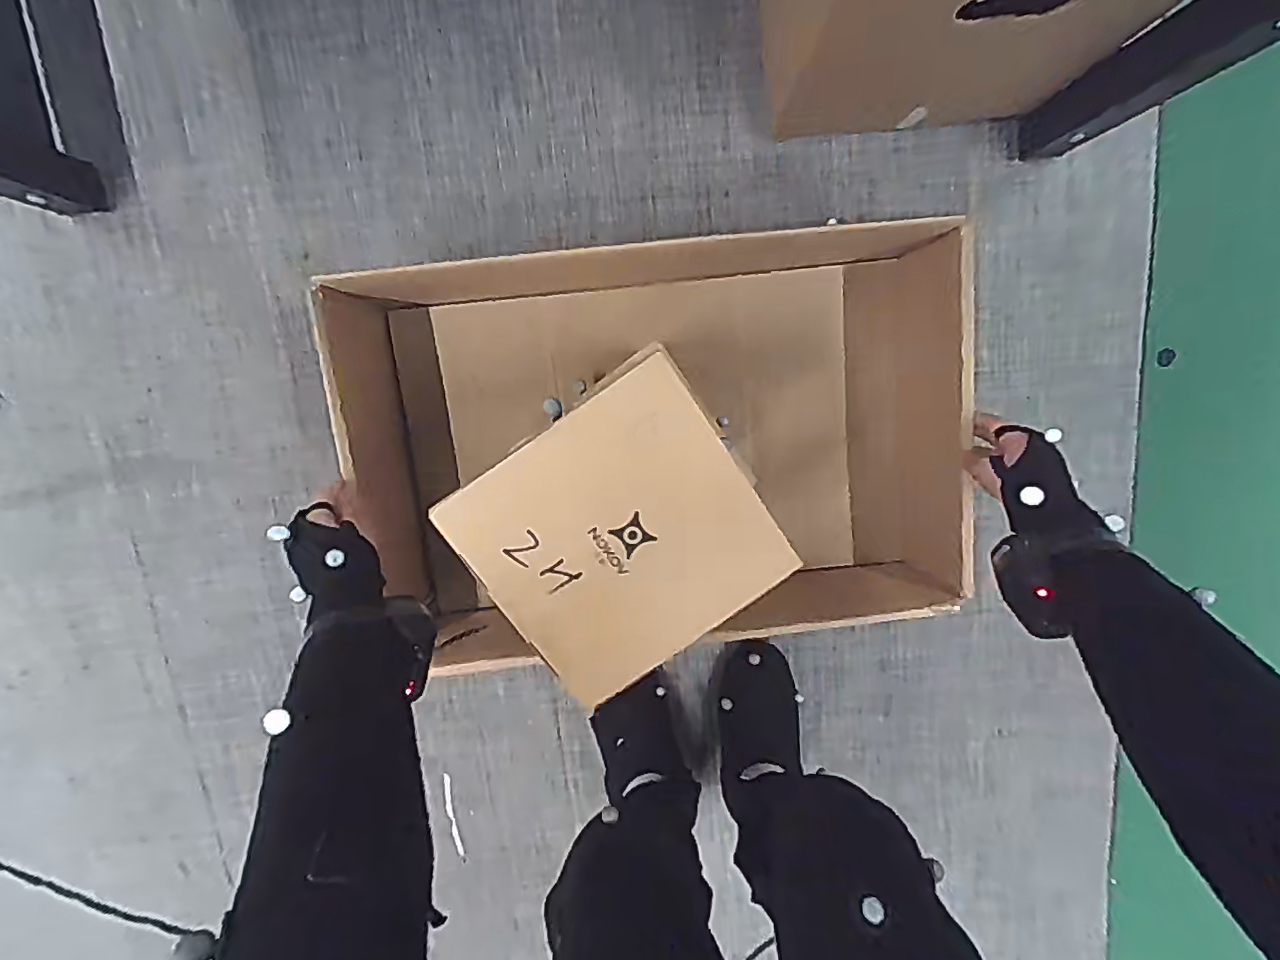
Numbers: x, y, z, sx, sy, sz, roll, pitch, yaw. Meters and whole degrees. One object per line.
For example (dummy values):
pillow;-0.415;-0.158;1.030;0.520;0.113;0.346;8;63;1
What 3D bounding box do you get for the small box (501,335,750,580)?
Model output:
small box;-0.012;-0.030;0.573;0.179;0.176;0.168;-35;100;5
